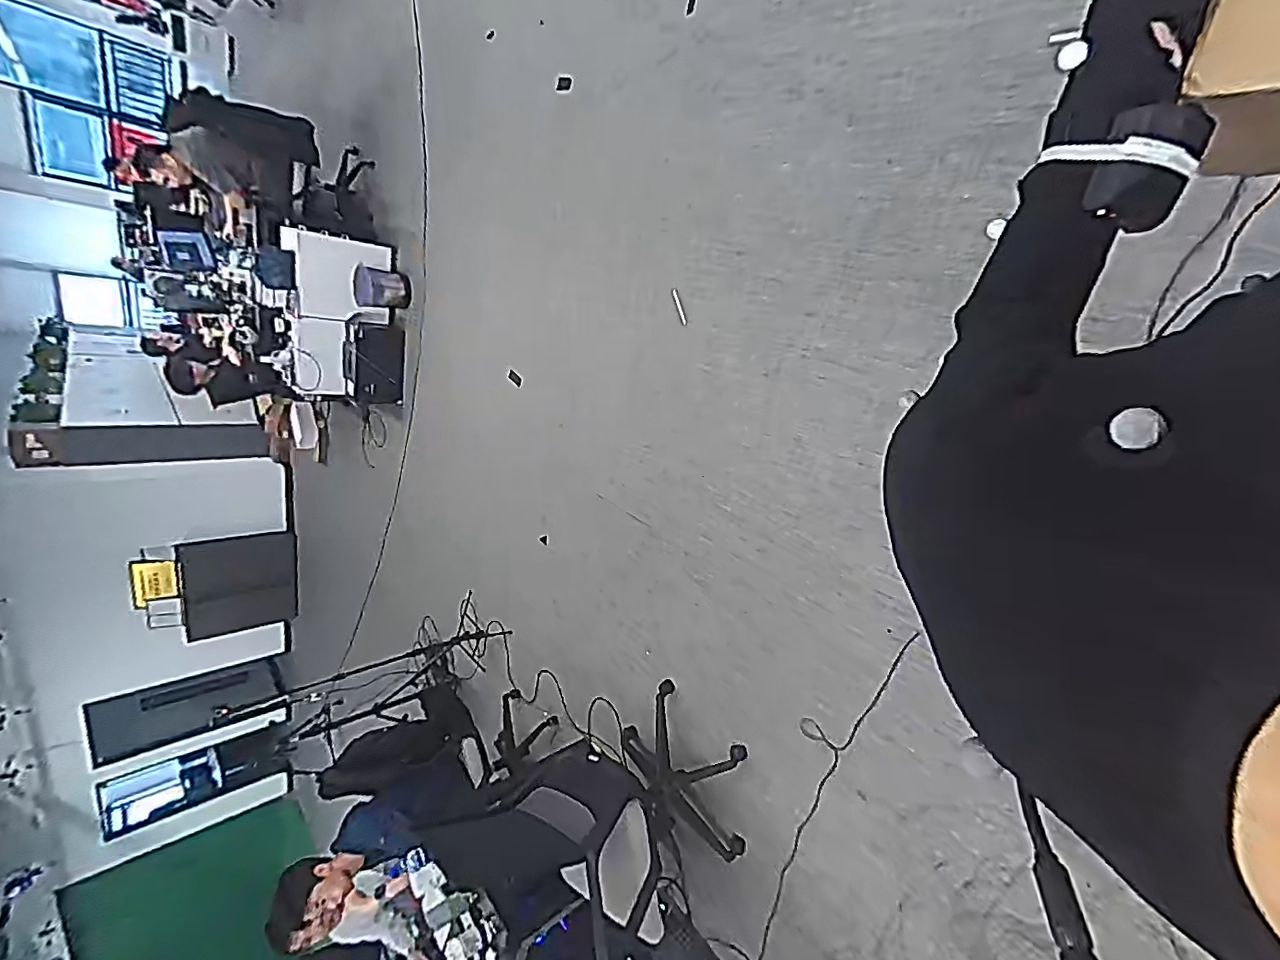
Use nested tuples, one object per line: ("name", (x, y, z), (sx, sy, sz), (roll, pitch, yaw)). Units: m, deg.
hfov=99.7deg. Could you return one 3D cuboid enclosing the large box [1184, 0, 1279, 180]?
("large box", (0.618, -0.366, 0.284), (0.408, 0.320, 0.320), (24, 119, 40))
